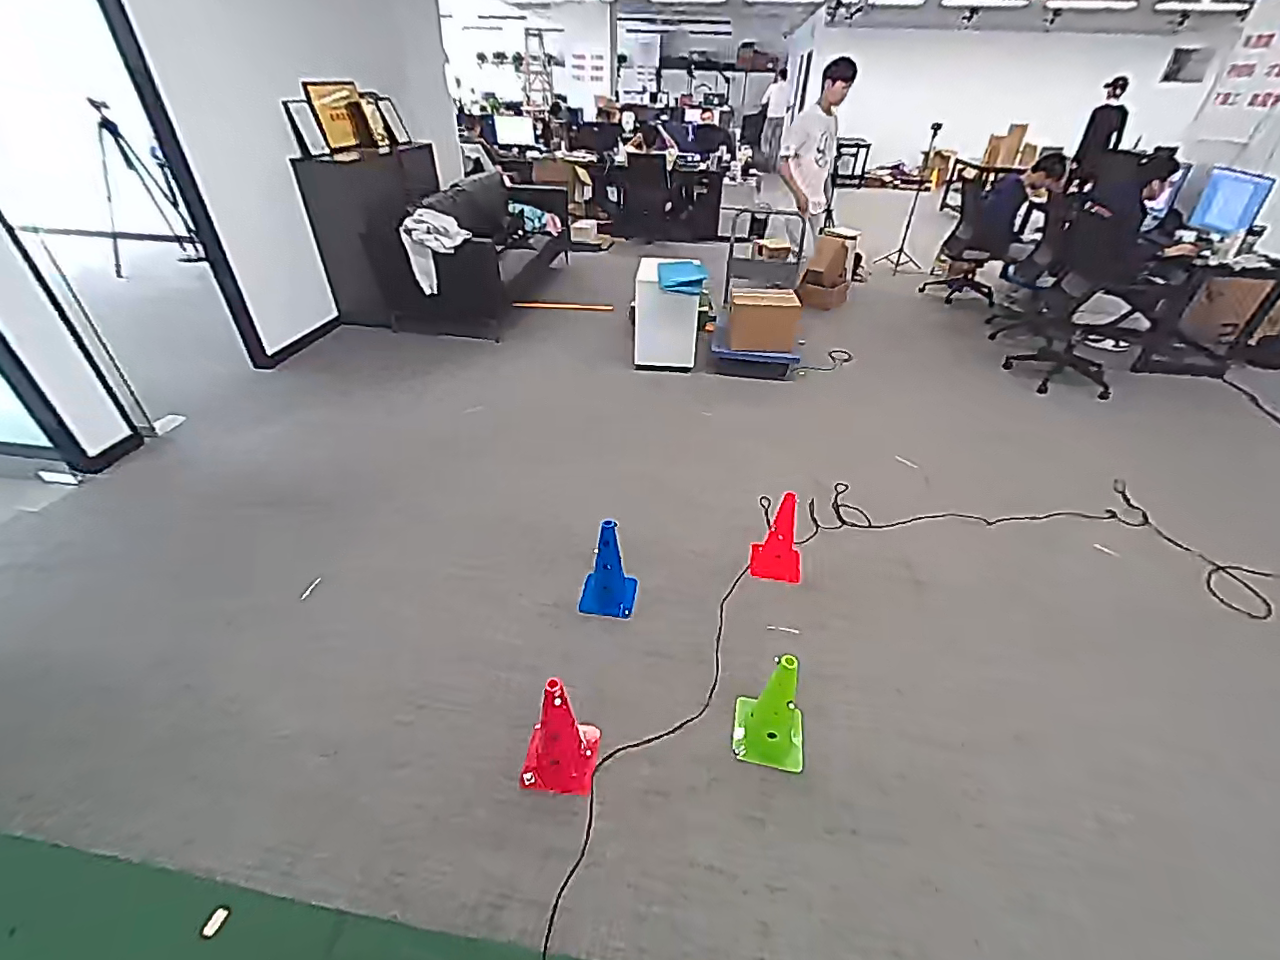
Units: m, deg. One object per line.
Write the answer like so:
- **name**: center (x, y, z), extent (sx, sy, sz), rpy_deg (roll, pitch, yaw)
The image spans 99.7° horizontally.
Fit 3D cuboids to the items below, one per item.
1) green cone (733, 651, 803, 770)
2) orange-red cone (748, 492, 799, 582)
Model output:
- **green cone**: center (0.388, 0.612, 1.513), extent (0.200, 0.368, 0.202), rpy_deg (8, 35, 8)
- **orange-red cone**: center (0.544, 0.197, 2.095), extent (0.198, 0.360, 0.199), rpy_deg (8, 38, 11)
